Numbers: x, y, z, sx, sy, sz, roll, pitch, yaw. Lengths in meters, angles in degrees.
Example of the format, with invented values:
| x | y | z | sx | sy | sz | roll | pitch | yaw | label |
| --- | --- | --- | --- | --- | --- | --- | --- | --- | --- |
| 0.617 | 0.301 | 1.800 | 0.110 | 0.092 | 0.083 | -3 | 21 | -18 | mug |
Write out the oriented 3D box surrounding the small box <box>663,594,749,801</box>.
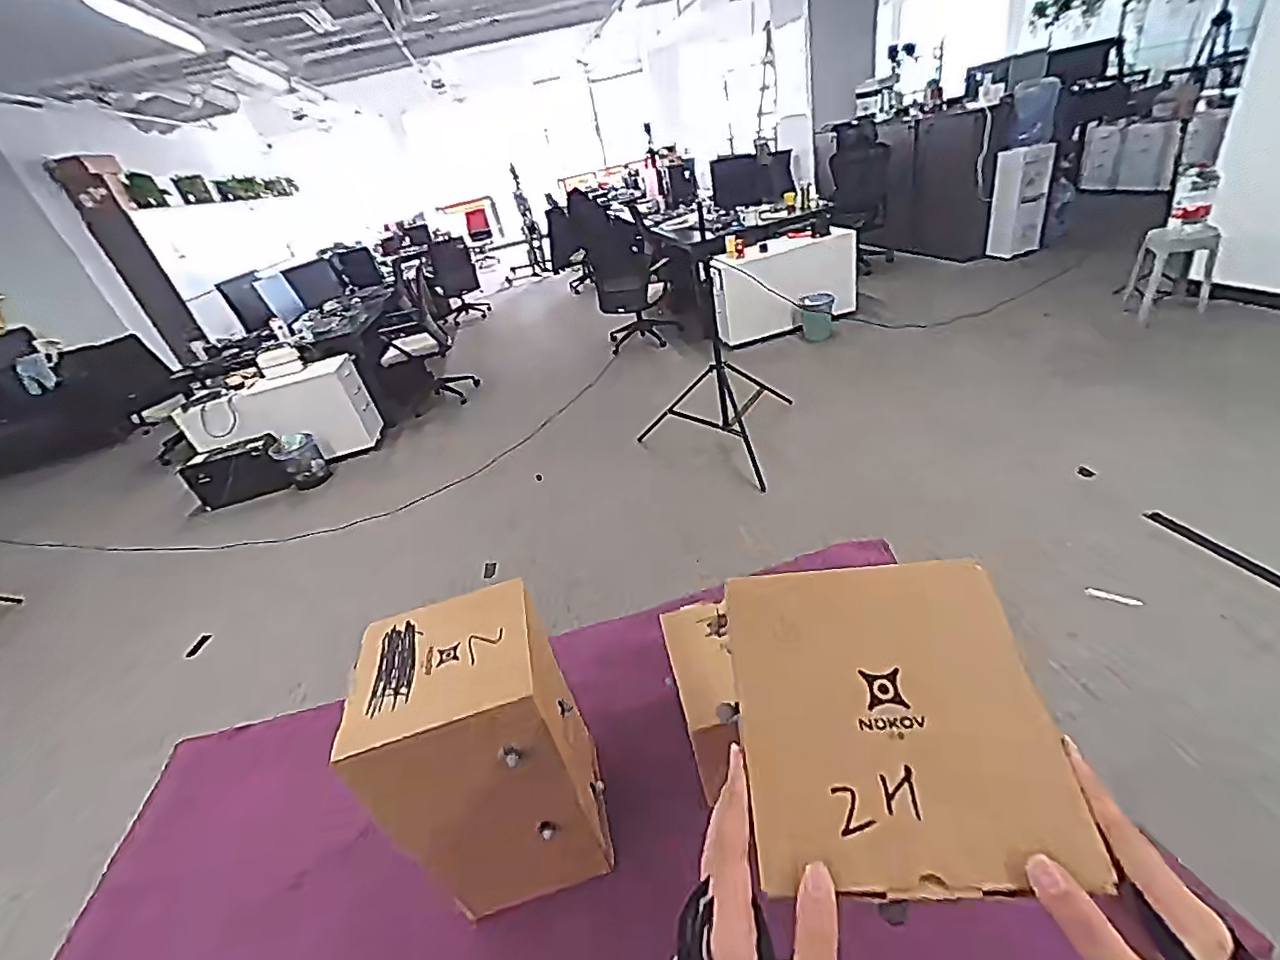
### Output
| x | y | z | sx | sy | sz | roll | pitch | yaw | label |
| --- | --- | --- | --- | --- | --- | --- | --- | --- | --- |
| 0.136 | 0.269 | 0.698 | 0.168 | 0.176 | 0.179 | -15 | 32 | -2 | small box |

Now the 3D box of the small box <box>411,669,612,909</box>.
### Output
| x | y | z | sx | sy | sz | roll | pitch | yaw | label |
| --- | --- | --- | --- | --- | --- | --- | --- | --- | --- |
| -0.147 | 0.369 | 0.652 | 0.179 | 0.176 | 0.168 | -16 | 31 | -6 | small box |

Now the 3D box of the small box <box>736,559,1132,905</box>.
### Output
| x | y | z | sx | sy | sz | roll | pitch | yaw | label |
| --- | --- | --- | --- | --- | --- | --- | --- | --- | --- |
| 0.155 | 0.173 | 0.365 | 0.168 | 0.176 | 0.179 | -6 | 53 | 9 | small box |
